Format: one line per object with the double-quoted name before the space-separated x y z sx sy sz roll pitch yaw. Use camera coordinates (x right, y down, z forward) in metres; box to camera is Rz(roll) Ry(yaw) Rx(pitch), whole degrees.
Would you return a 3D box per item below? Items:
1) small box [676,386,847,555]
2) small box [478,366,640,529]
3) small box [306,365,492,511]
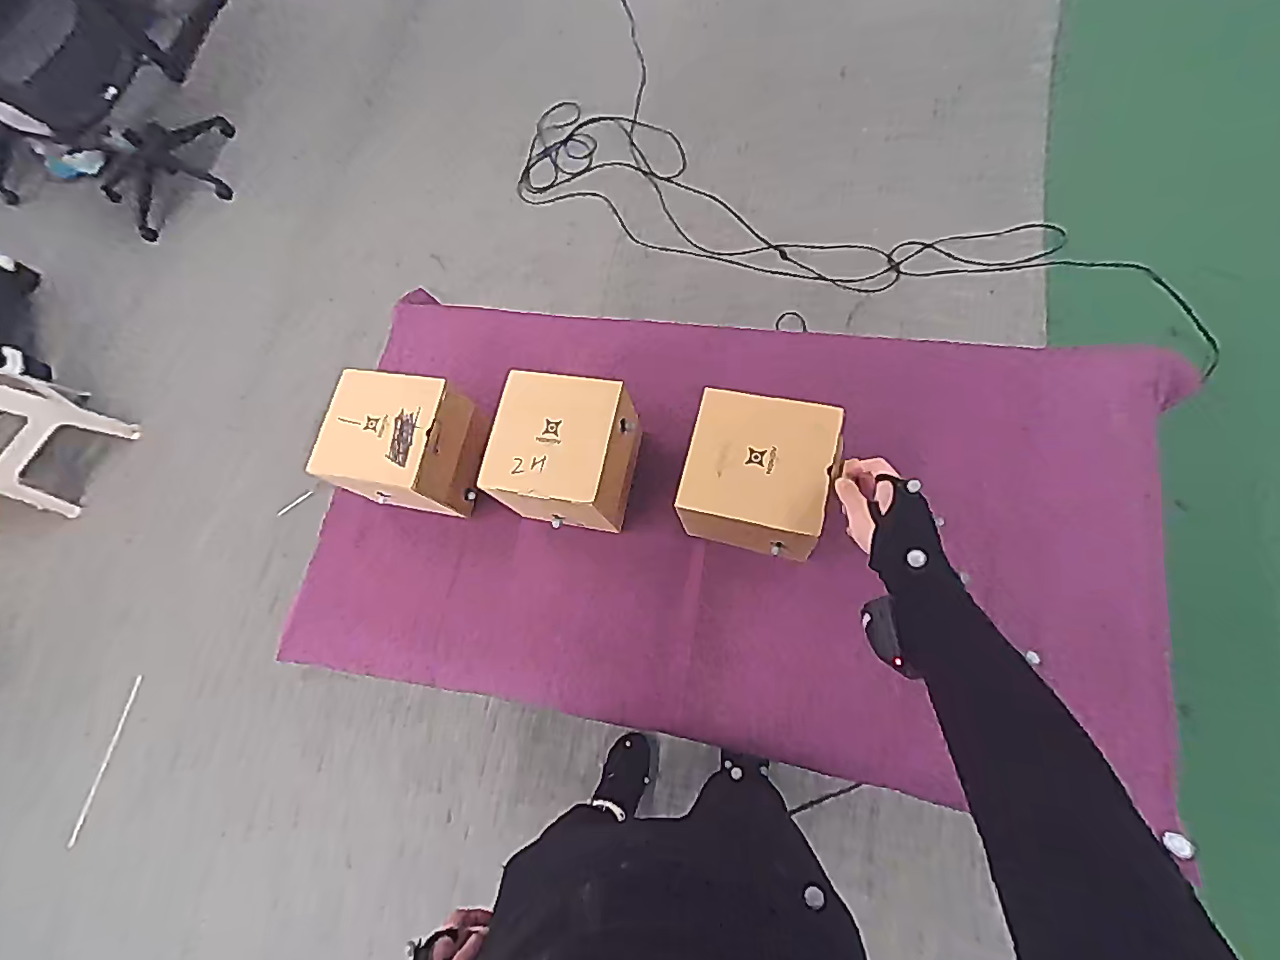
"small box" 0.160 -0.004 0.727 0.179 0.176 0.168 12 75 14
"small box" -0.103 -0.041 0.782 0.168 0.176 0.179 9 75 13
"small box" -0.354 -0.056 0.831 0.179 0.176 0.168 8 74 13
